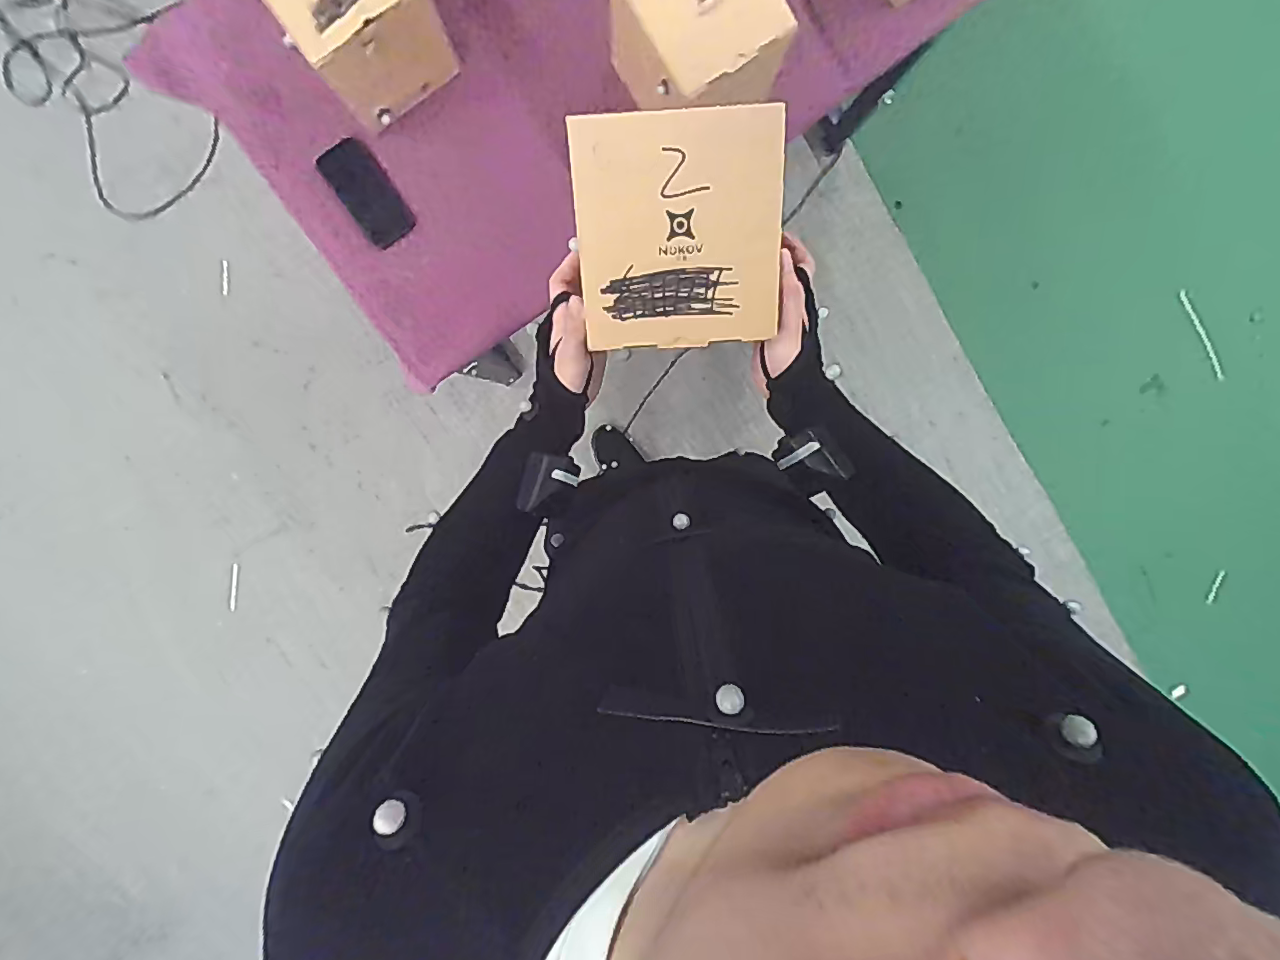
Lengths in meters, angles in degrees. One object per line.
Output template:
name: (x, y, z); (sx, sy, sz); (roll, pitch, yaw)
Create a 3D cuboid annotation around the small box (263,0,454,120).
small box: (-0.376, -0.617, 0.708); (0.168, 0.176, 0.179); (-36, 97, 2)

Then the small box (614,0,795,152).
small box: (0.073, -0.597, 0.729); (0.168, 0.176, 0.179); (-34, 97, 2)
